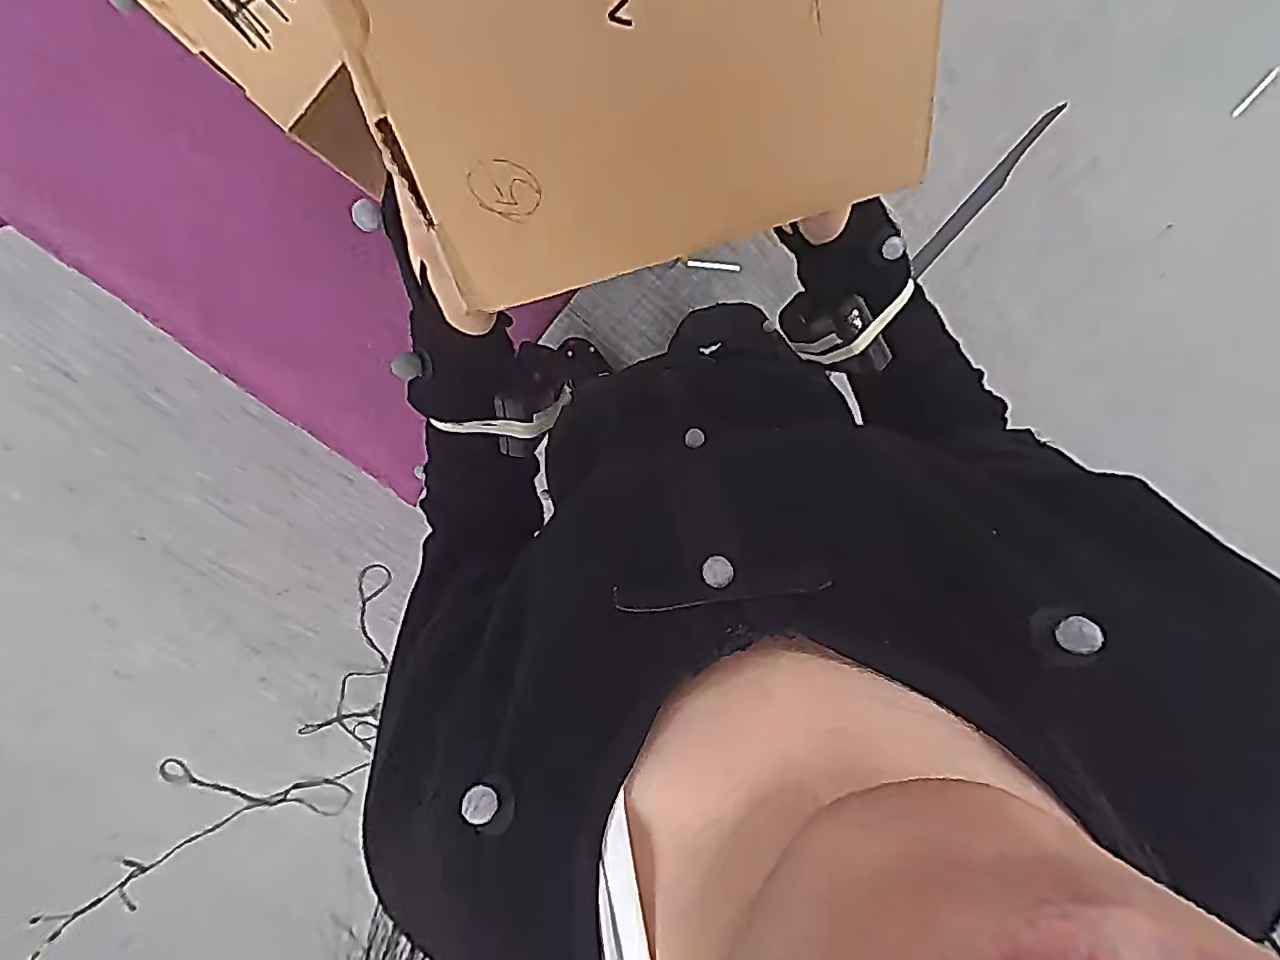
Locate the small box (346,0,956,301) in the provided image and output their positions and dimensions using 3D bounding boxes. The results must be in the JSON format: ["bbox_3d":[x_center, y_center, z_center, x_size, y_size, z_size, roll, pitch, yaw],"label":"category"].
[{"bbox_3d":[-0.011,-0.192,0.205,0.179,0.176,0.168,-19,128,-4],"label":"small box"}]

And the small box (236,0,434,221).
[{"bbox_3d":[-0.229,-0.395,0.535,0.168,0.176,0.179,43,96,-14],"label":"small box"}]
